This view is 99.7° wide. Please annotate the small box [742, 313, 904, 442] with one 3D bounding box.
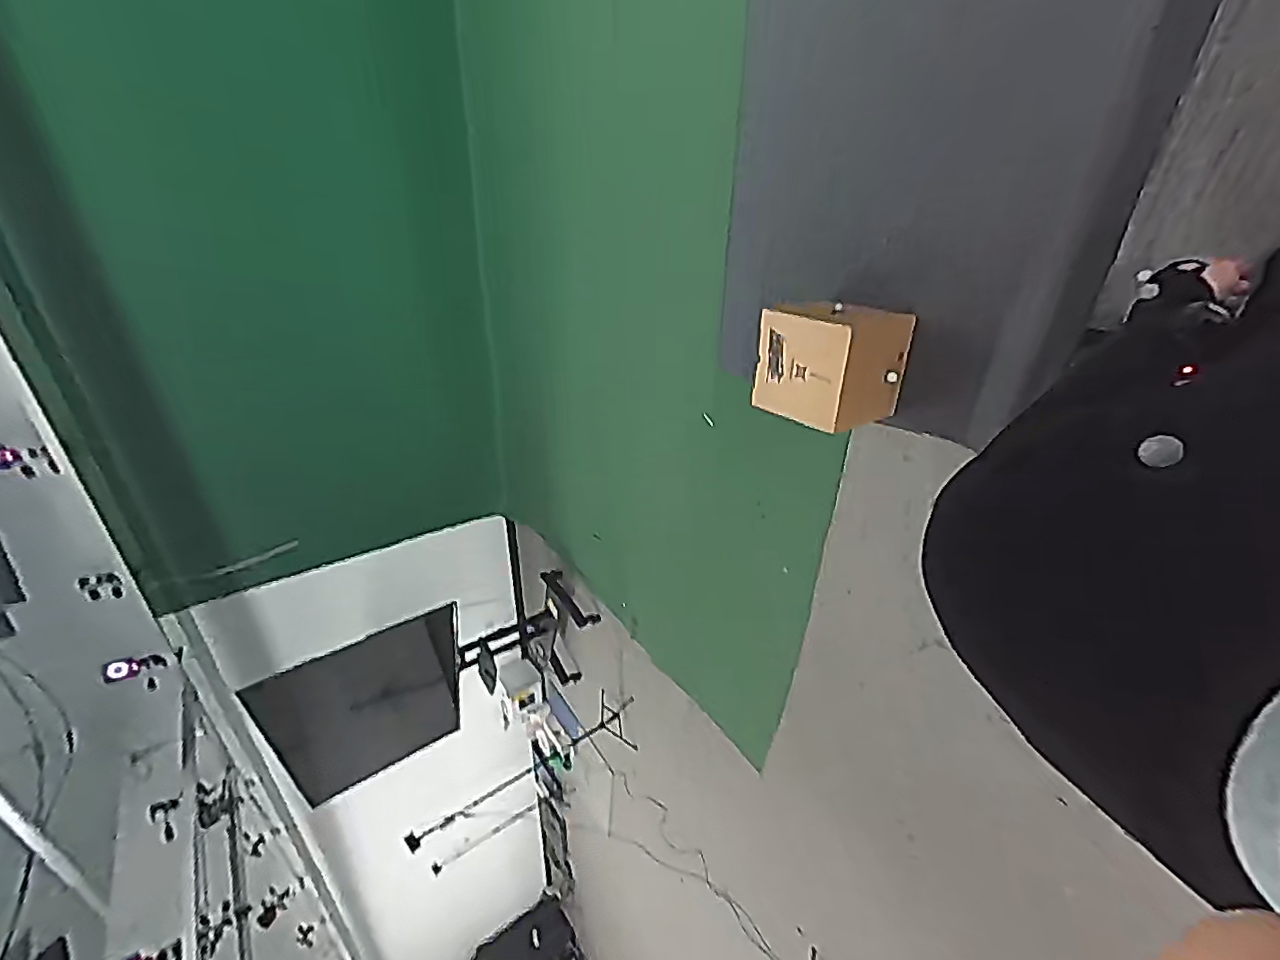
[{"bbox_3d":[0.297,-0.179,0.894,0.179,0.176,0.168,32,130,46],"label":"small box"}]
